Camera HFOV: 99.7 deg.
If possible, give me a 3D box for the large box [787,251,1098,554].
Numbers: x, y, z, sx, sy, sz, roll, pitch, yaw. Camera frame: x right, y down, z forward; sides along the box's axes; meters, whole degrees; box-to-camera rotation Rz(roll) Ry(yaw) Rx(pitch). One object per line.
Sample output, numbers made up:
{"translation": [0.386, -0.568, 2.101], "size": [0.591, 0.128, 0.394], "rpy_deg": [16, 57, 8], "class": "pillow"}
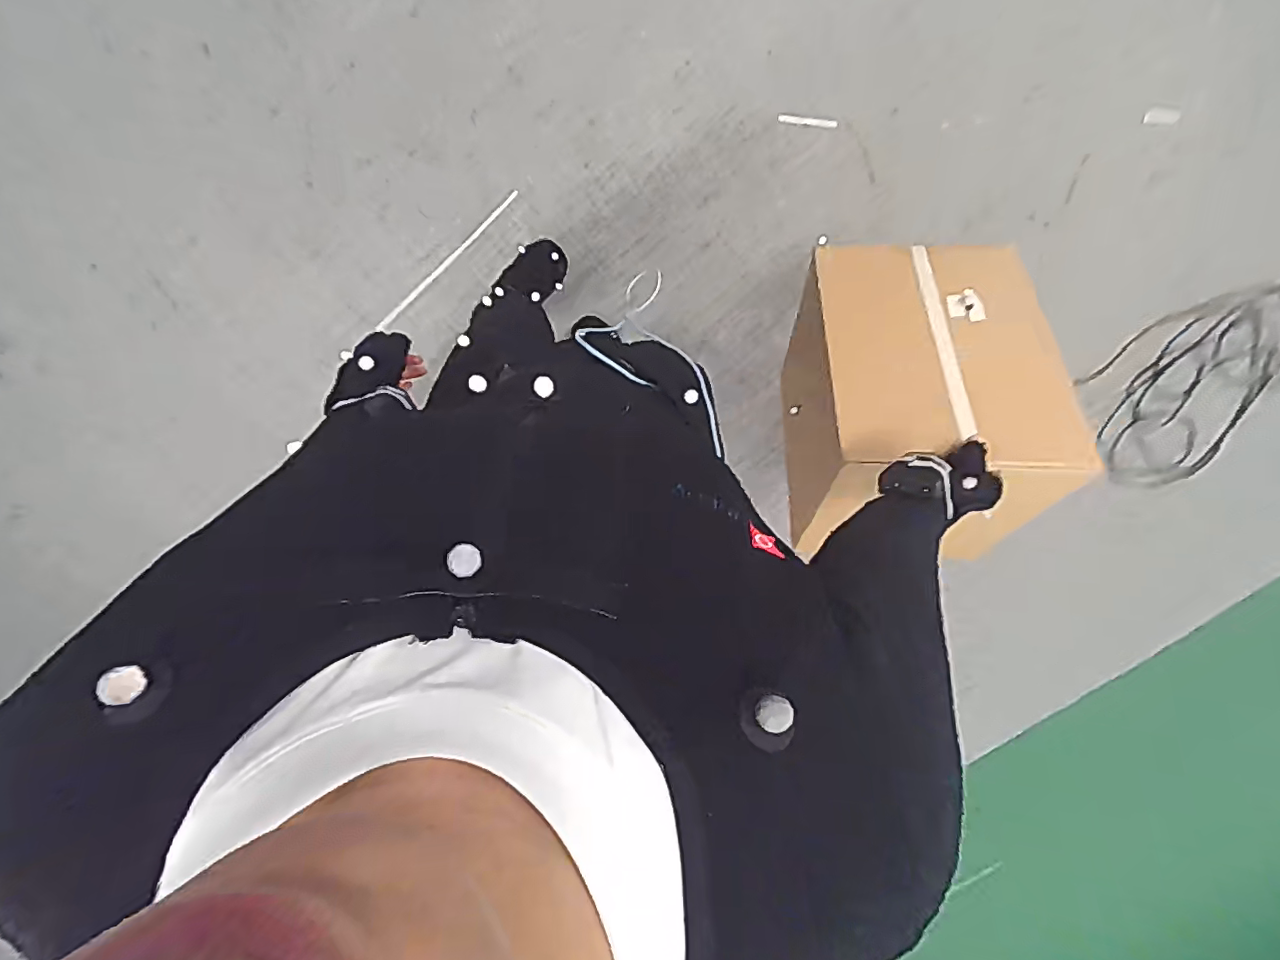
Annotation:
{"translation": [0.437, -0.116, 0.903], "size": [0.320, 0.408, 0.320], "rpy_deg": [3, 151, 4], "class": "large box"}
